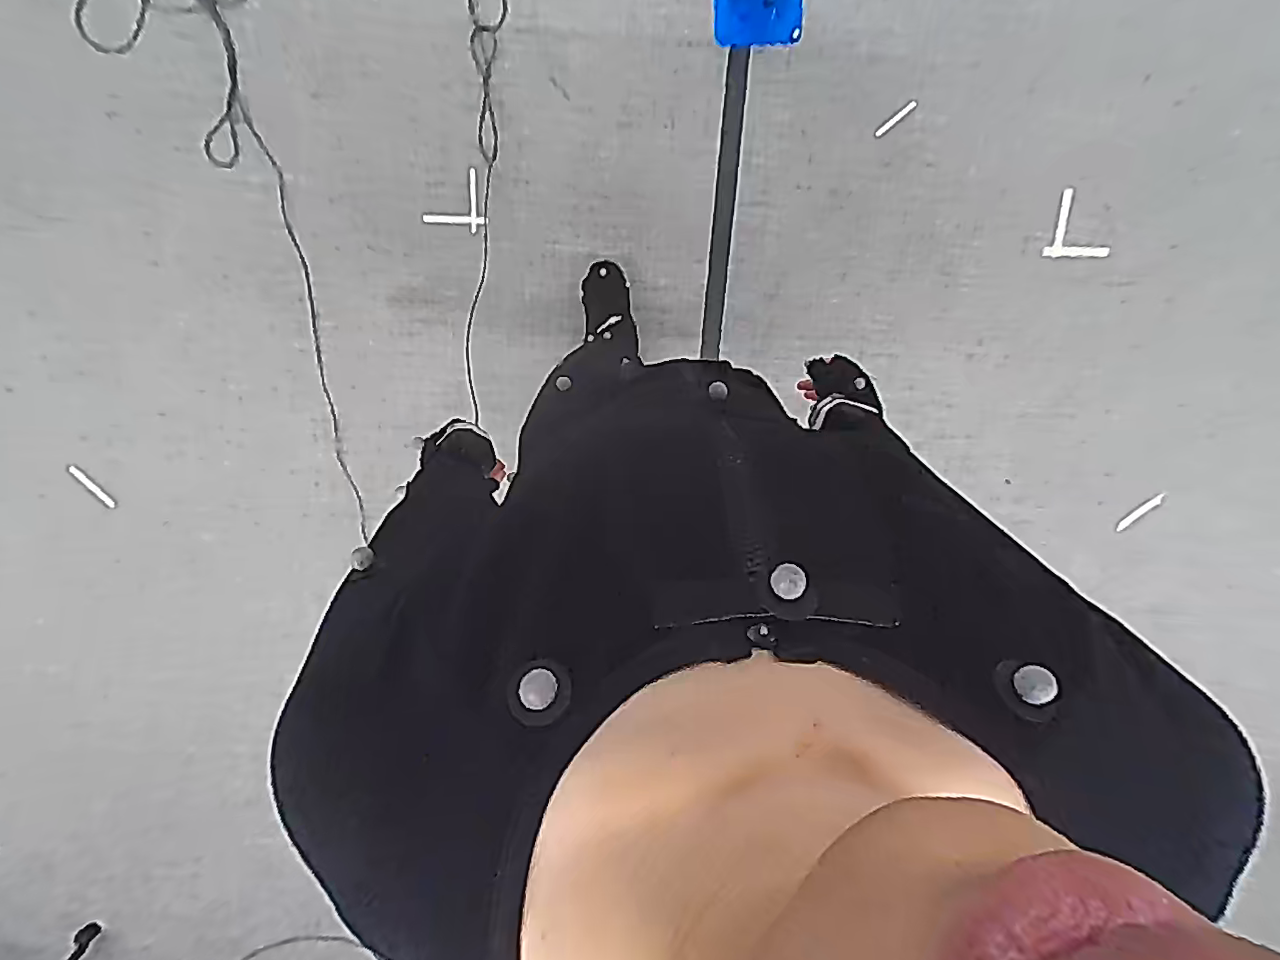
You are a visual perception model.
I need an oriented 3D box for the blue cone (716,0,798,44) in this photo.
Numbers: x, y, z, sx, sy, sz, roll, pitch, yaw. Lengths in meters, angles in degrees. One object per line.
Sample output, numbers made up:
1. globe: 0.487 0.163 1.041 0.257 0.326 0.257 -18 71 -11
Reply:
1. blue cone: 0.274 -1.038 1.043 0.192 0.380 0.193 -1 106 -4
